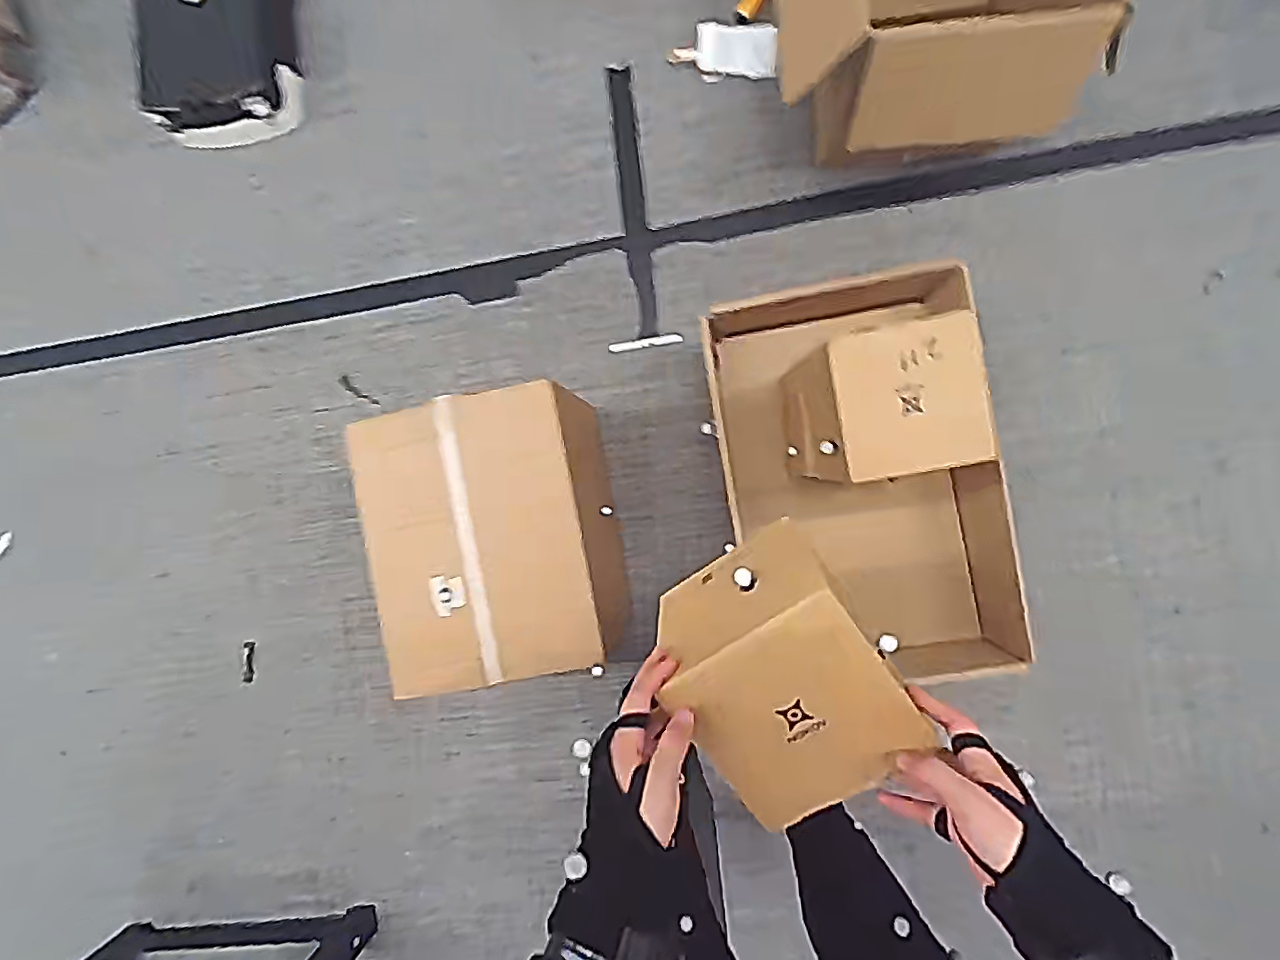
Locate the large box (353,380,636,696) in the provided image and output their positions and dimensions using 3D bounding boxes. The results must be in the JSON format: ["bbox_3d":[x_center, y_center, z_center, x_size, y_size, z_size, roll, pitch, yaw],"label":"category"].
[{"bbox_3d":[-0.209,0.082,0.906,0.320,0.320,0.408,-12,89,7],"label":"large box"}]

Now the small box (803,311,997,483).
[{"bbox_3d":[0.321,-0.097,0.700,0.168,0.176,0.179,-10,90,5],"label":"small box"}]
